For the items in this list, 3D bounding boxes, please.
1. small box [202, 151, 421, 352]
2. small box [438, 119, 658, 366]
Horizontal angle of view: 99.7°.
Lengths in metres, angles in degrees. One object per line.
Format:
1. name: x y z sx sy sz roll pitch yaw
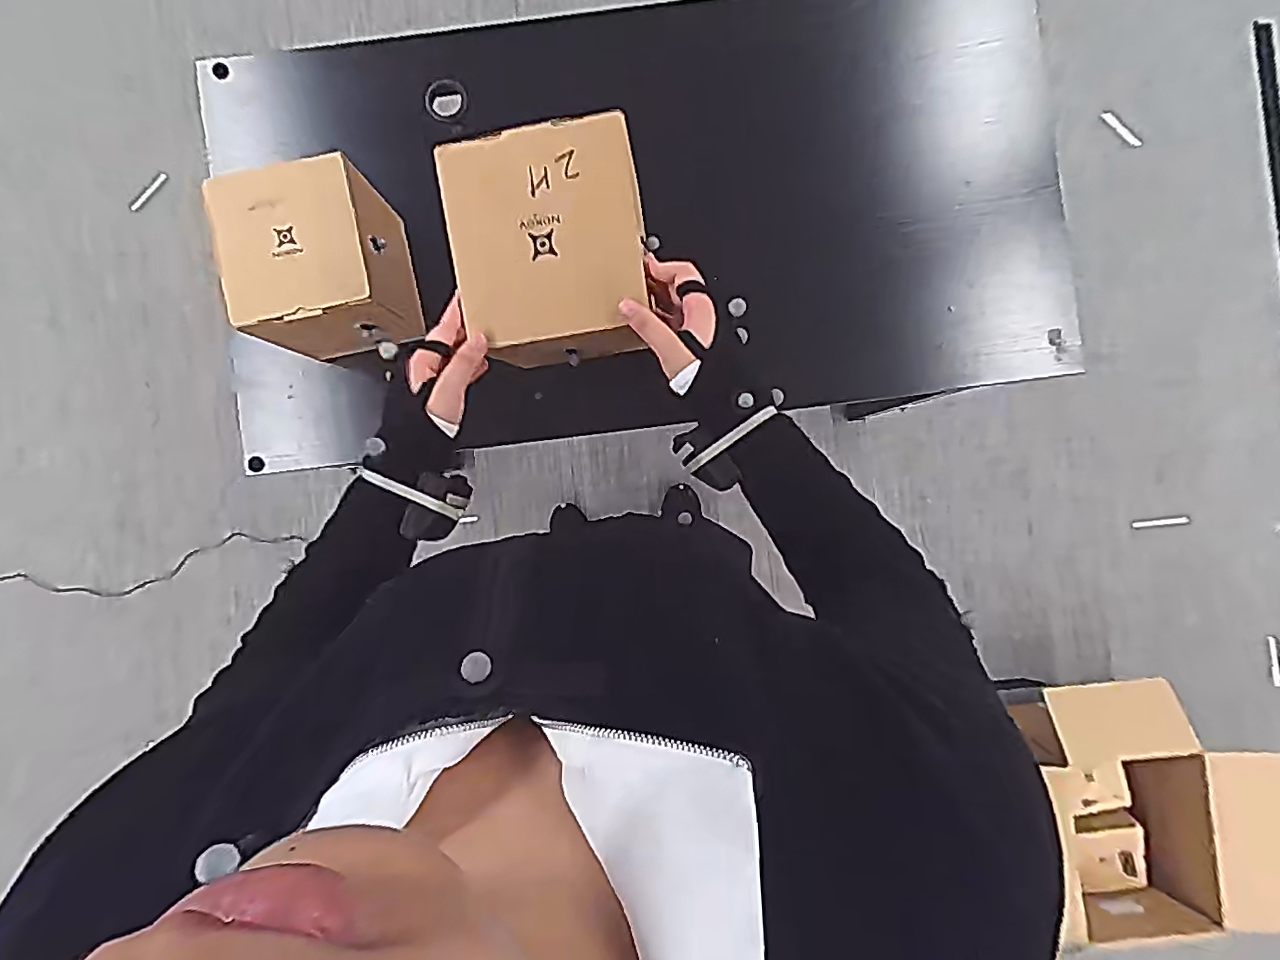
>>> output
1. small box: -0.403 -0.275 0.696 0.168 0.176 0.179 -12 89 -1
2. small box: -0.076 -0.215 0.546 0.168 0.176 0.179 -8 95 5
